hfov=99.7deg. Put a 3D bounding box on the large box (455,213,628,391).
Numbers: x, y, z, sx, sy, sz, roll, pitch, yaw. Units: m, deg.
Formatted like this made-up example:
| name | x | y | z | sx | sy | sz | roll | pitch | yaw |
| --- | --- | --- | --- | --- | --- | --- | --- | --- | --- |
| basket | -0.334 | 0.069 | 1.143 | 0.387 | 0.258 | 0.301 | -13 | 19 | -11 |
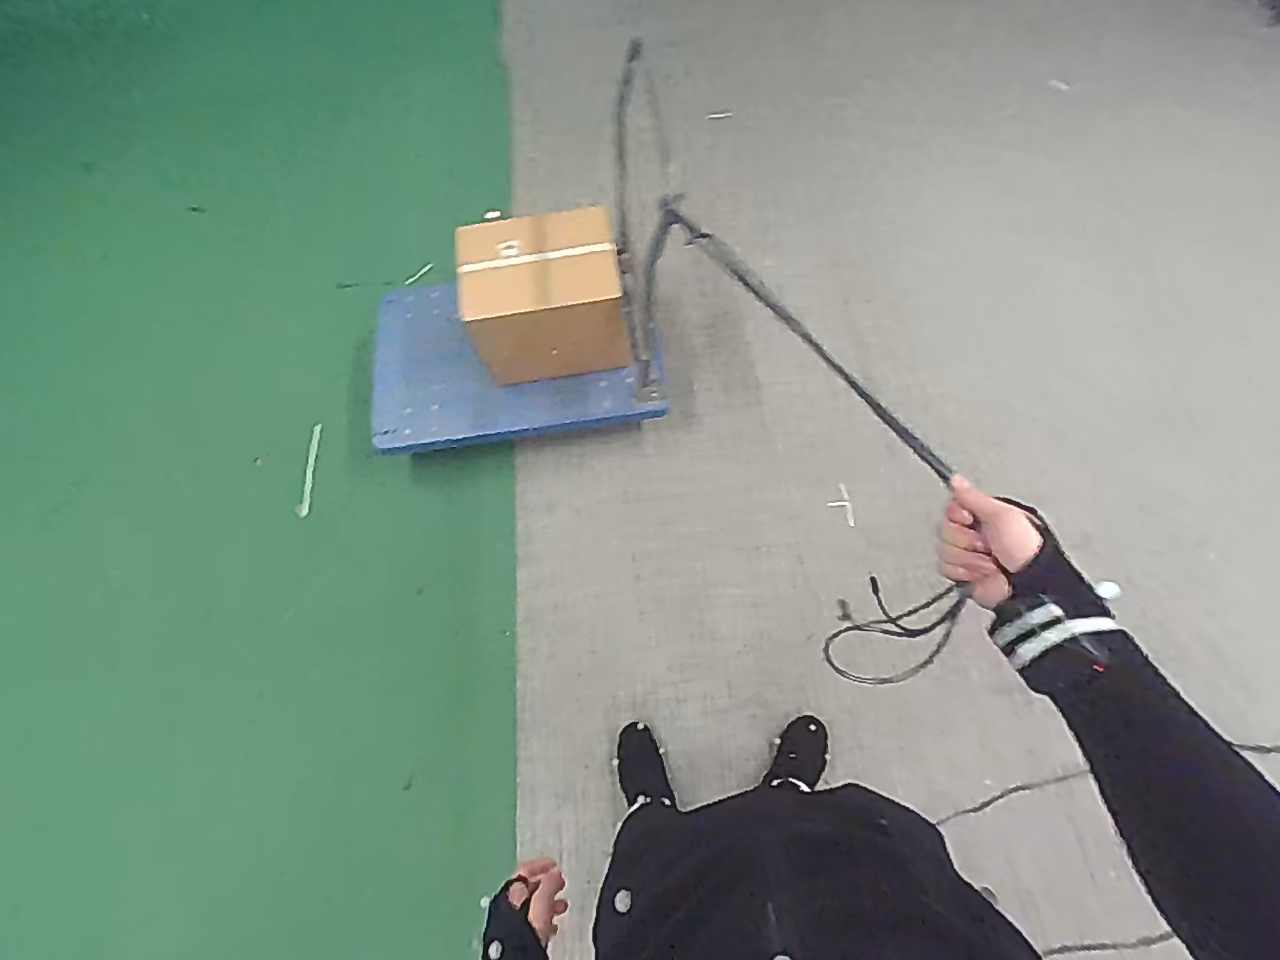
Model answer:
| name | x | y | z | sx | sy | sz | roll | pitch | yaw |
| --- | --- | --- | --- | --- | --- | --- | --- | --- | --- |
| large box | -0.263 | -0.487 | 1.524 | 0.408 | 0.320 | 0.320 | -10 | 67 | 0 |
